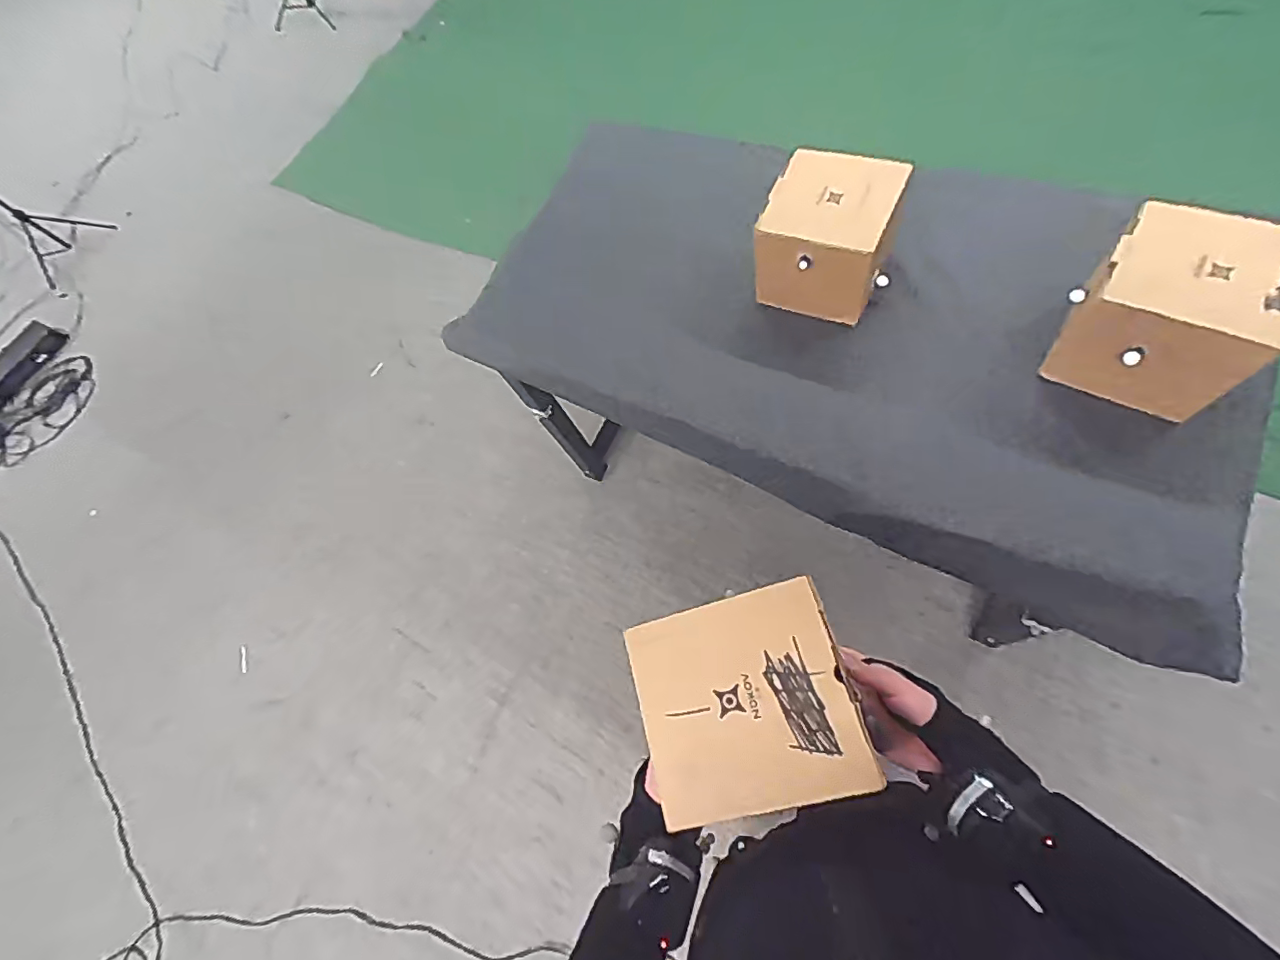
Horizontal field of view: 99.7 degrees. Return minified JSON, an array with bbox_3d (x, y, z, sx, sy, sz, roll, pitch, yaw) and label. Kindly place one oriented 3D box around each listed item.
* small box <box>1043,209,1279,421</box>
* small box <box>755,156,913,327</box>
[{"bbox_3d":[0.662,-0.200,0.686,0.179,0.176,0.168,29,78,24],"label":"small box"},{"bbox_3d":[0.295,-0.368,0.852,0.179,0.176,0.168,23,76,20],"label":"small box"}]
